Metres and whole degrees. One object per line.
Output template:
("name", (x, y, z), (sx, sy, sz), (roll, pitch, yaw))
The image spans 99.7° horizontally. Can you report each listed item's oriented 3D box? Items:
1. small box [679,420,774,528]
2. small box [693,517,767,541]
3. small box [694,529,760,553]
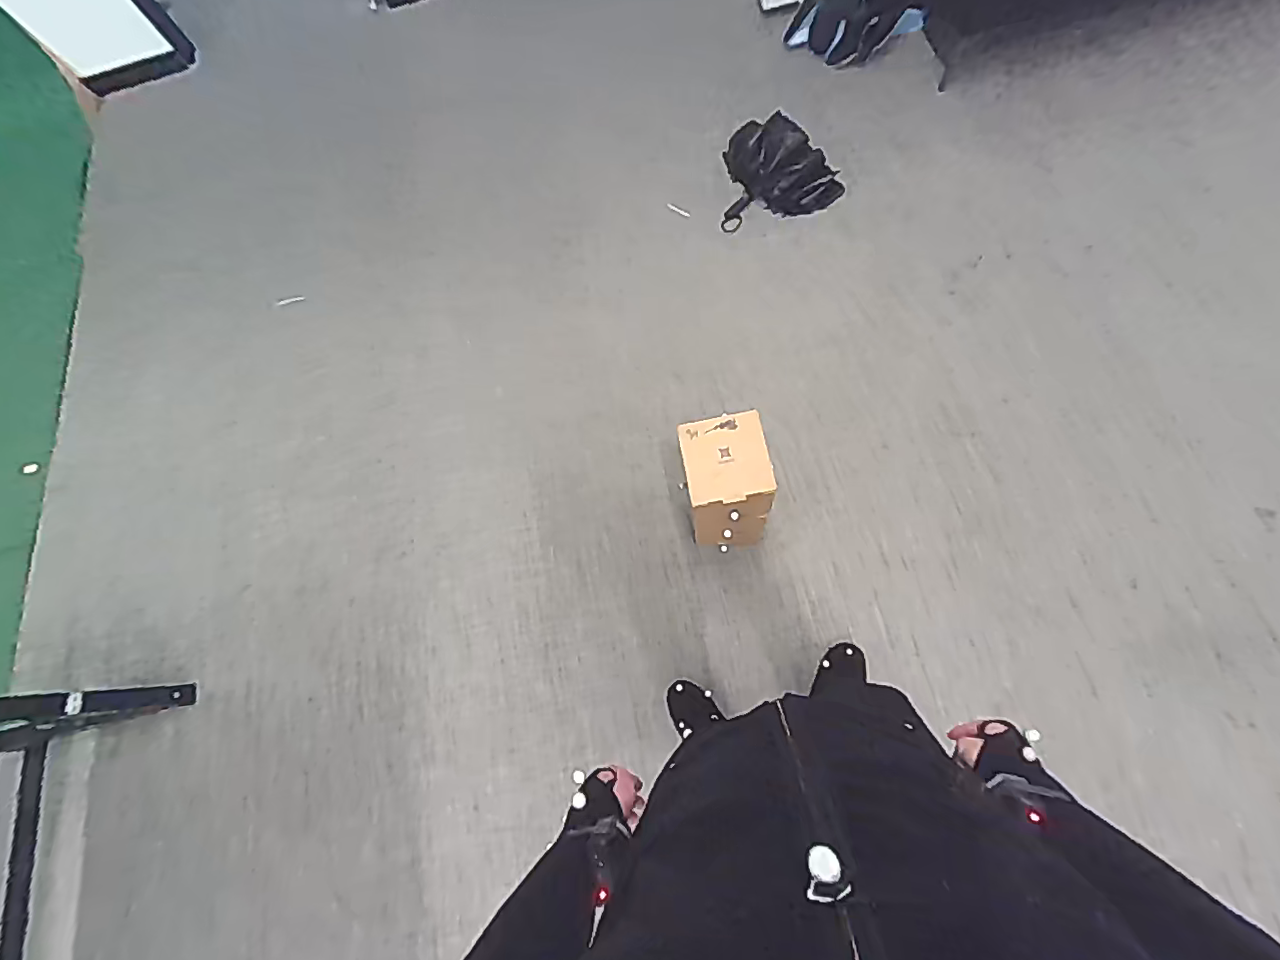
("small box", (0.179, -0.004, 1.136), (0.168, 0.176, 0.179), (-10, 71, 5))
("small box", (0.209, 0.041, 1.290), (0.168, 0.176, 0.179), (-1, 72, 8))
("small box", (0.228, 0.093, 1.445), (0.168, 0.176, 0.179), (-2, 73, 7))
